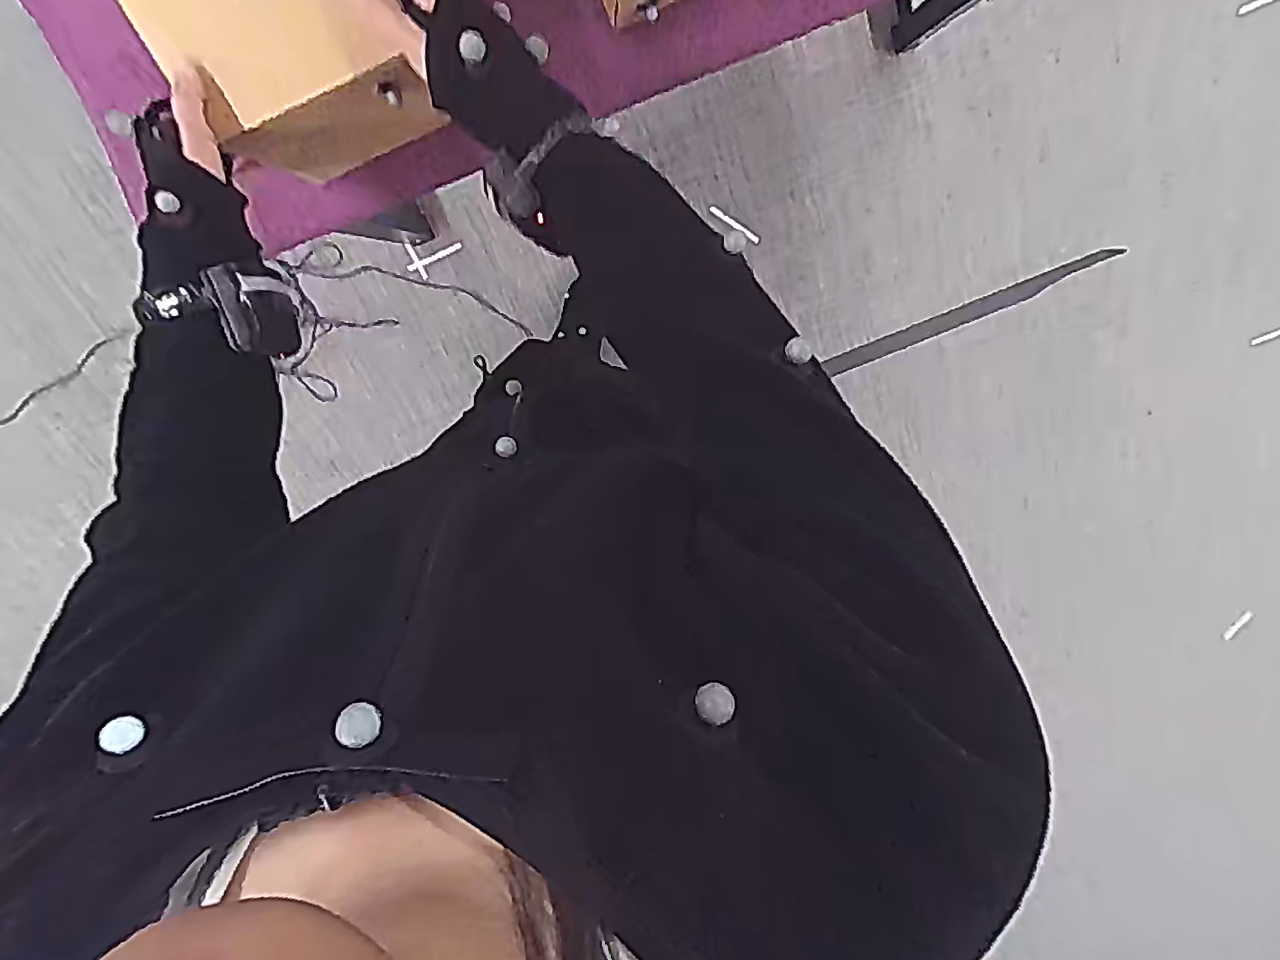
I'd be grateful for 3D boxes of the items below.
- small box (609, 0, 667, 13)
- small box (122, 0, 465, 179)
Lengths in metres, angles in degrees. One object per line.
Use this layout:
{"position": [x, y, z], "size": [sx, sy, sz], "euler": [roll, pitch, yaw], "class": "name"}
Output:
{"position": [0.025, -0.507, 0.410], "size": [0.168, 0.176, 0.179], "euler": [-24, 110, 4], "class": "small box"}
{"position": [-0.269, -0.370, 0.436], "size": [0.179, 0.176, 0.168], "euler": [-23, 111, 3], "class": "small box"}
